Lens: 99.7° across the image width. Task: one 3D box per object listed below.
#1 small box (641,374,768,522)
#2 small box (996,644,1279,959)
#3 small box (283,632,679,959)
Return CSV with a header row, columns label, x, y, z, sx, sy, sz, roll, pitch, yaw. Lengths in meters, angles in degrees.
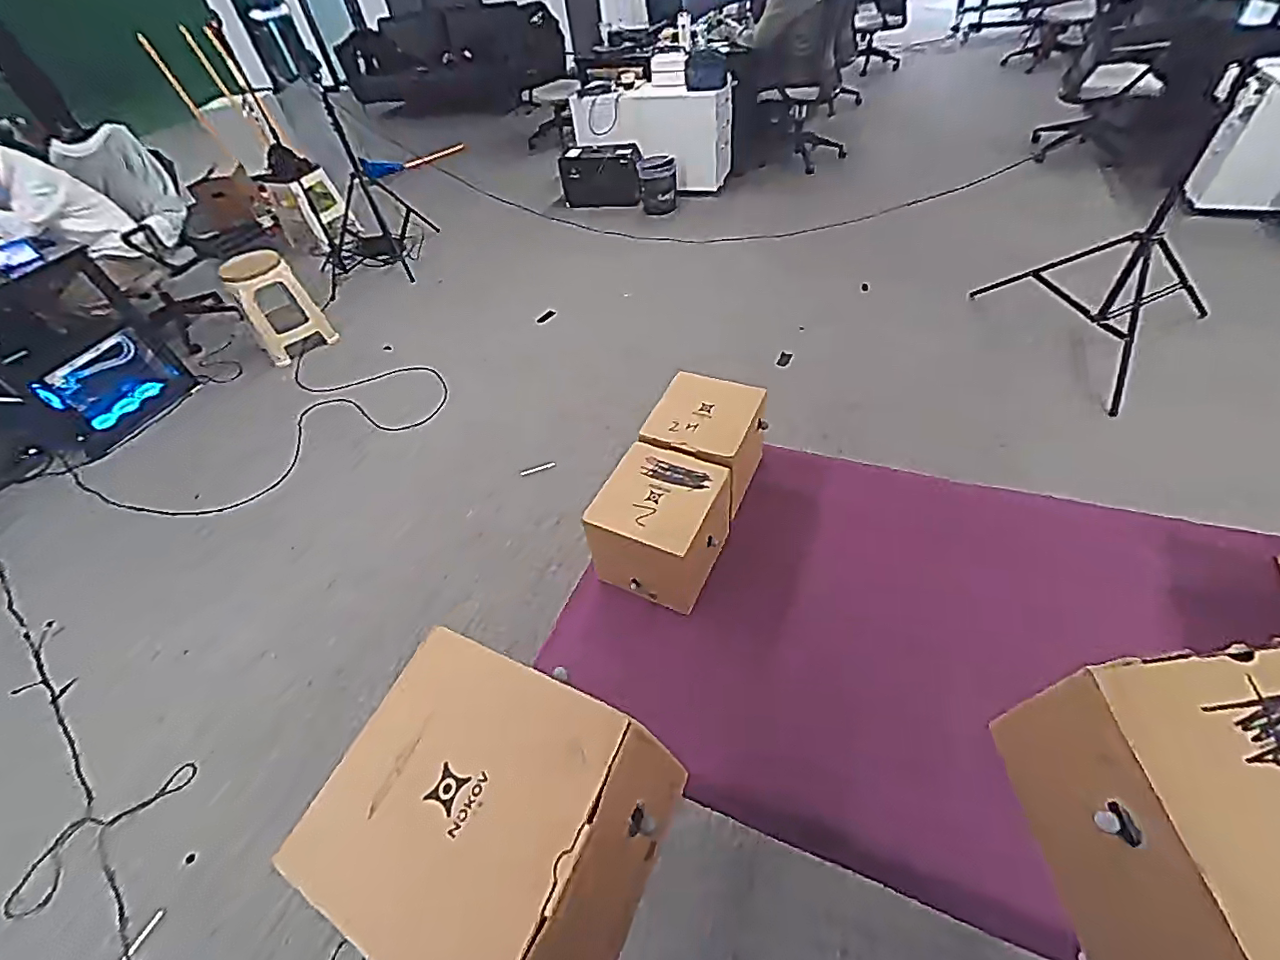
label,x,y,z,sx,sy,sz,roll,pitch,yaw
small box,0.116,-0.057,0.962,0.168,0.176,0.179,17,53,22
small box,0.359,0.215,0.327,0.168,0.176,0.179,-10,55,5
small box,-0.089,0.241,0.387,0.179,0.176,0.168,12,56,28
